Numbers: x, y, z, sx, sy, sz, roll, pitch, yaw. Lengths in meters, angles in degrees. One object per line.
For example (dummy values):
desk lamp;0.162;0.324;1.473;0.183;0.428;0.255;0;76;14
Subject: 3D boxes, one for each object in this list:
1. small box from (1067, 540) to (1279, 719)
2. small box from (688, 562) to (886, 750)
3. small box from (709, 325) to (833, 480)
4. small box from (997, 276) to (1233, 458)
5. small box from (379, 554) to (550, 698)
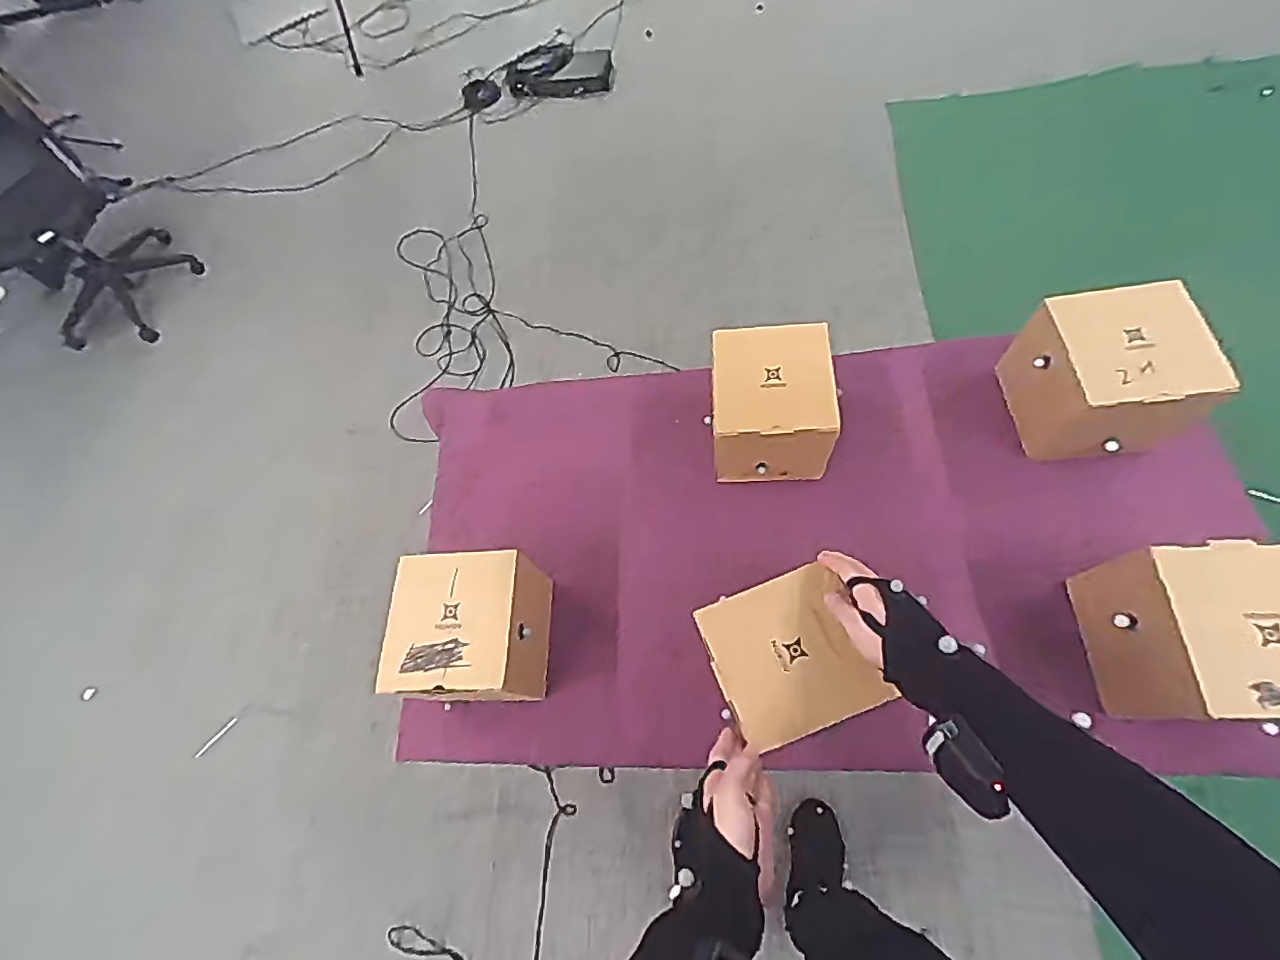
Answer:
small box;0.639;0.178;0.621;0.168;0.176;0.179;-4;67;10
small box;0.178;0.223;0.686;0.179;0.176;0.168;-21;68;4
small box;0.190;-0.111;0.831;0.168;0.176;0.179;-2;69;9
small box;0.638;-0.150;0.759;0.168;0.176;0.179;-7;67;11
small box;-0.233;0.214;0.767;0.168;0.176;0.179;-4;65;8
